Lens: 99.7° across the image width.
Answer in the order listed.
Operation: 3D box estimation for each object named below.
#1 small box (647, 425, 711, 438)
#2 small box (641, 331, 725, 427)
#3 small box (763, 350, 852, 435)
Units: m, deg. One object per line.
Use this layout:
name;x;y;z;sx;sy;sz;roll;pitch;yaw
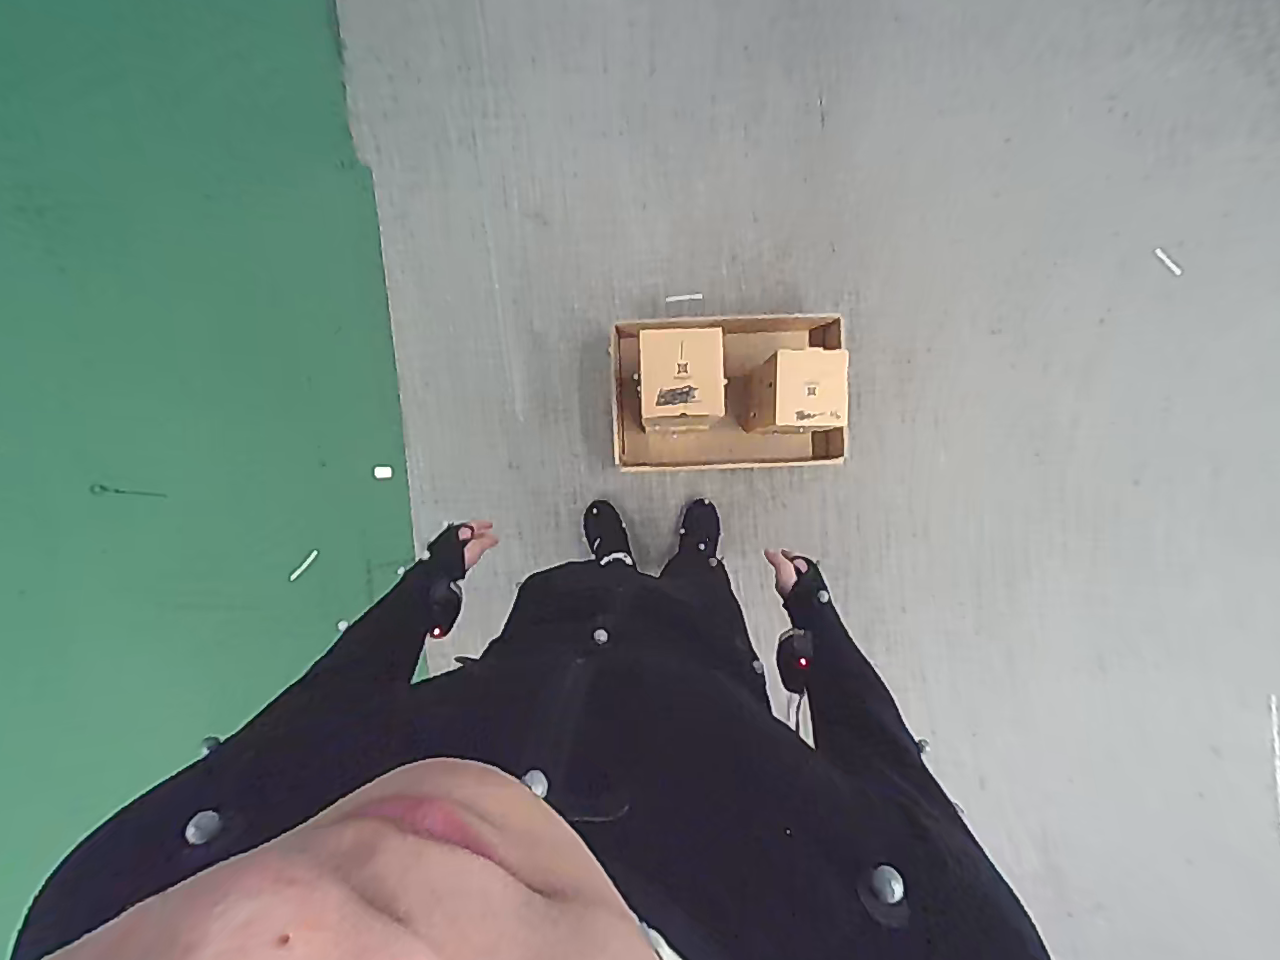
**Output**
small box;0.101;-0.209;1.470;0.168;0.176;0.179;-2;90;1
small box;0.087;-0.204;1.142;0.168;0.176;0.179;-2;89;0
small box;0.396;-0.205;1.301;0.168;0.176;0.179;1;91;1
